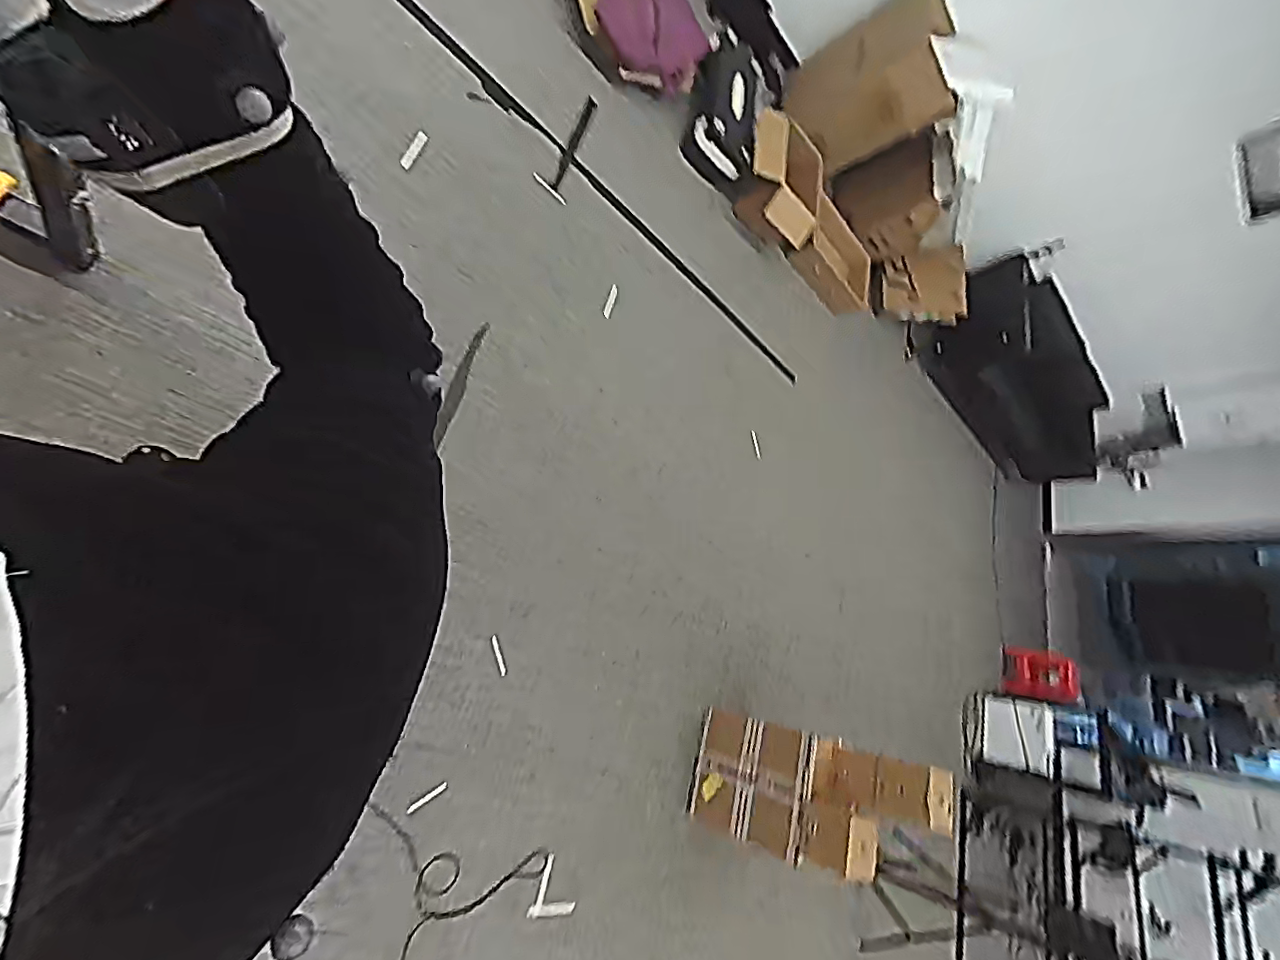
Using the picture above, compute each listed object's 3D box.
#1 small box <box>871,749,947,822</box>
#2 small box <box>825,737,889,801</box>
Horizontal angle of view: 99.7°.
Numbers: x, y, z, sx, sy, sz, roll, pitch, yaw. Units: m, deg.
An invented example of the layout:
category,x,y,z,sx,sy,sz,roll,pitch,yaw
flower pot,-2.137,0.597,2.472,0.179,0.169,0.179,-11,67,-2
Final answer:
category,x,y,z,sx,sy,sz,roll,pitch,yaw
small box,0.871,0.986,1.755,0.179,0.176,0.168,30,63,-33
small box,0.771,1.008,1.884,0.179,0.176,0.168,29,64,-34
